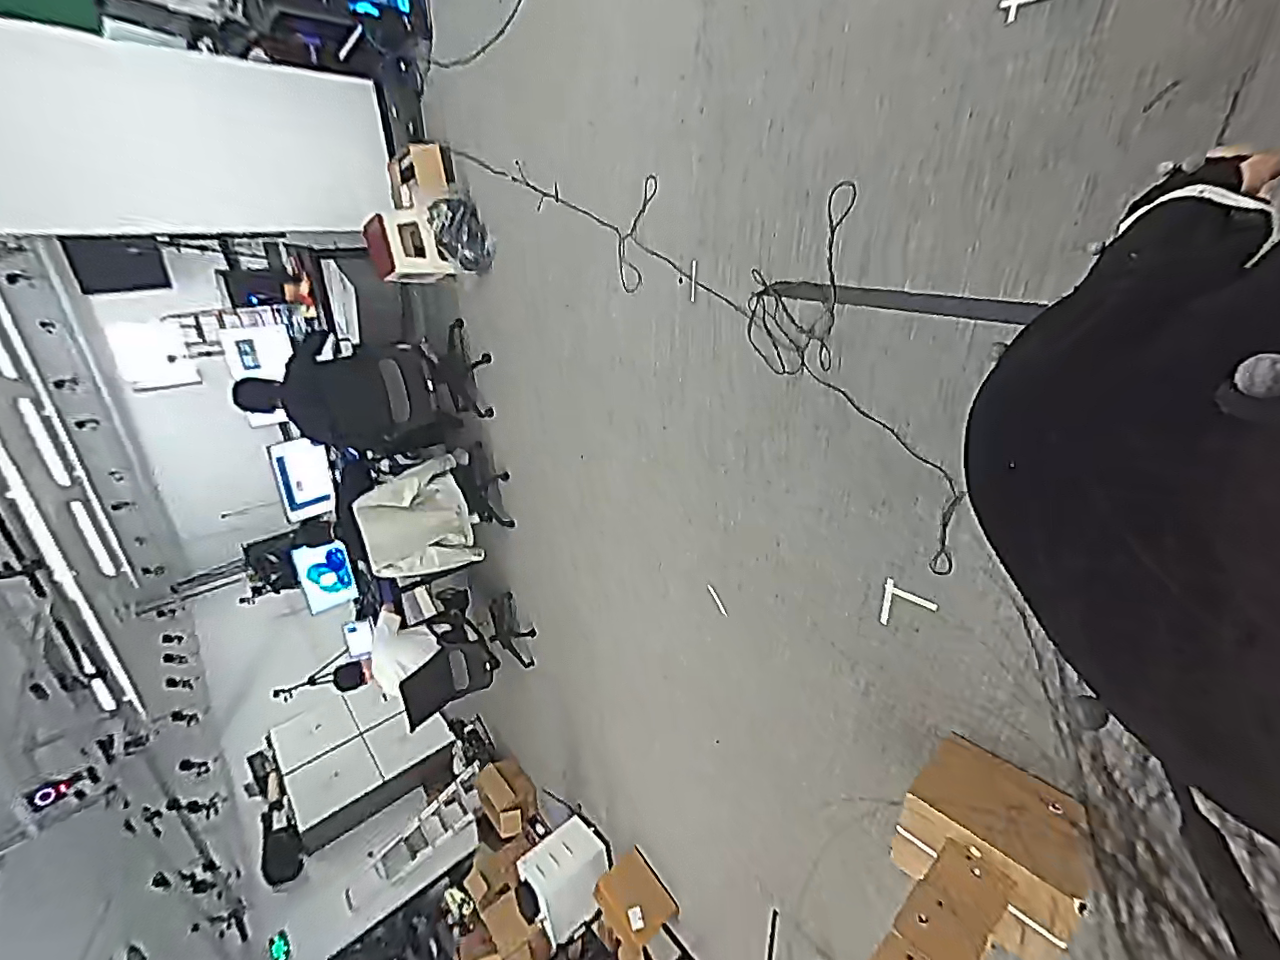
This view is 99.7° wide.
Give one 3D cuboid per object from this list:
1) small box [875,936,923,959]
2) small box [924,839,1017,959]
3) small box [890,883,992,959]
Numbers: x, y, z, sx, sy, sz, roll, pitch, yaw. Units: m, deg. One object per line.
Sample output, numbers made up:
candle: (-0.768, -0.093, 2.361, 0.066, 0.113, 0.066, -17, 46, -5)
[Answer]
small box: (0.586, 1.172, 1.184, 0.168, 0.176, 0.179, 16, 118, 49)
small box: (0.832, 1.081, 1.379, 0.168, 0.176, 0.179, 22, 122, 44)
small box: (0.707, 1.121, 1.283, 0.168, 0.176, 0.179, 21, 123, 46)
